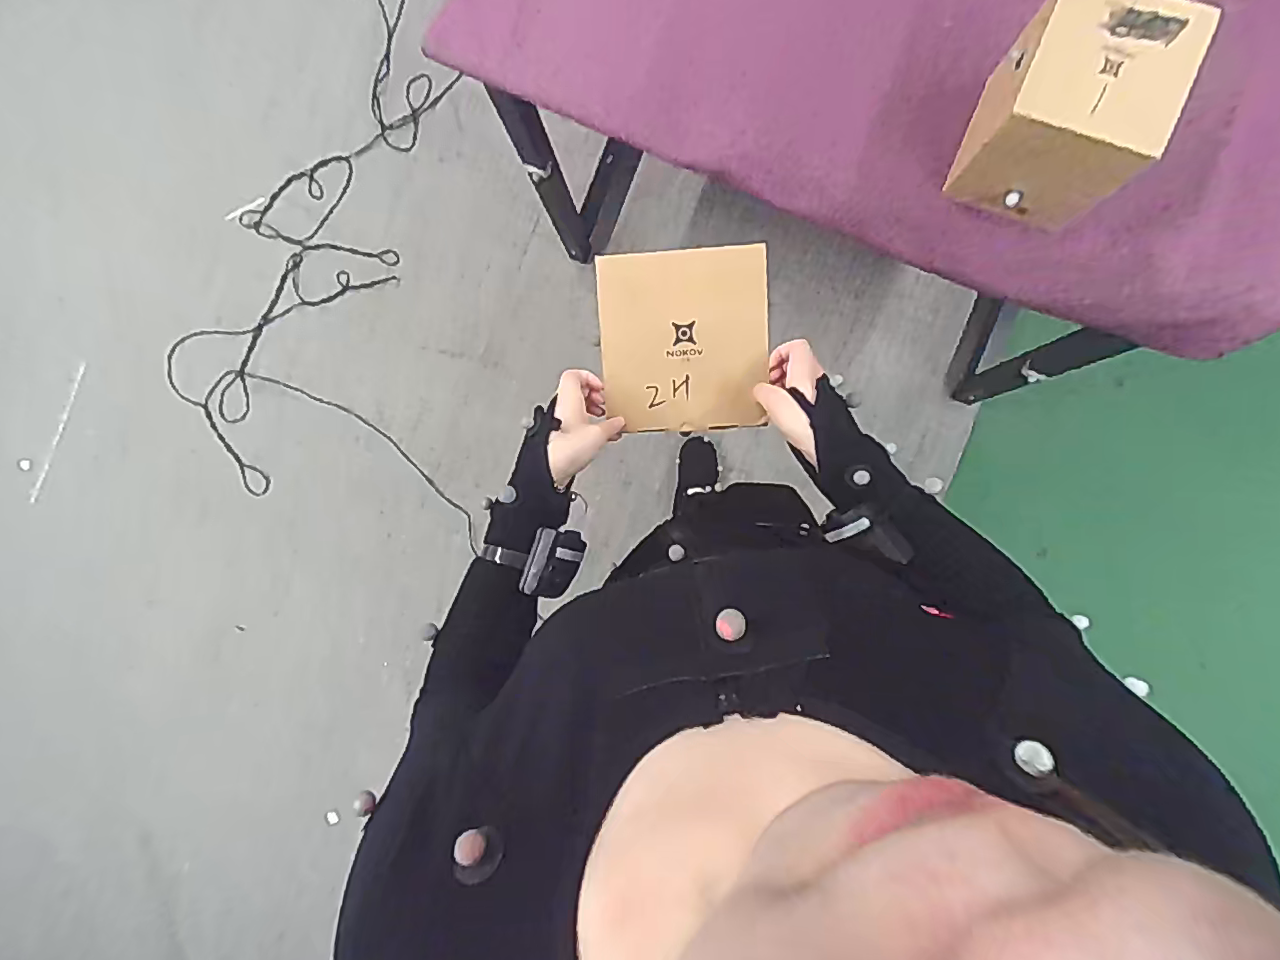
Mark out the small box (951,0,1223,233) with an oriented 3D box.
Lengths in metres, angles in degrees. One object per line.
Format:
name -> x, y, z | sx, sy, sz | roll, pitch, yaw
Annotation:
small box -> 0.519, -0.444, 0.659 | 0.168, 0.176, 0.179 | 23, 90, 6

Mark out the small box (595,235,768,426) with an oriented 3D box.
small box -> 0.045, -0.153, 0.597 | 0.168, 0.176, 0.179 | -2, 100, 5
